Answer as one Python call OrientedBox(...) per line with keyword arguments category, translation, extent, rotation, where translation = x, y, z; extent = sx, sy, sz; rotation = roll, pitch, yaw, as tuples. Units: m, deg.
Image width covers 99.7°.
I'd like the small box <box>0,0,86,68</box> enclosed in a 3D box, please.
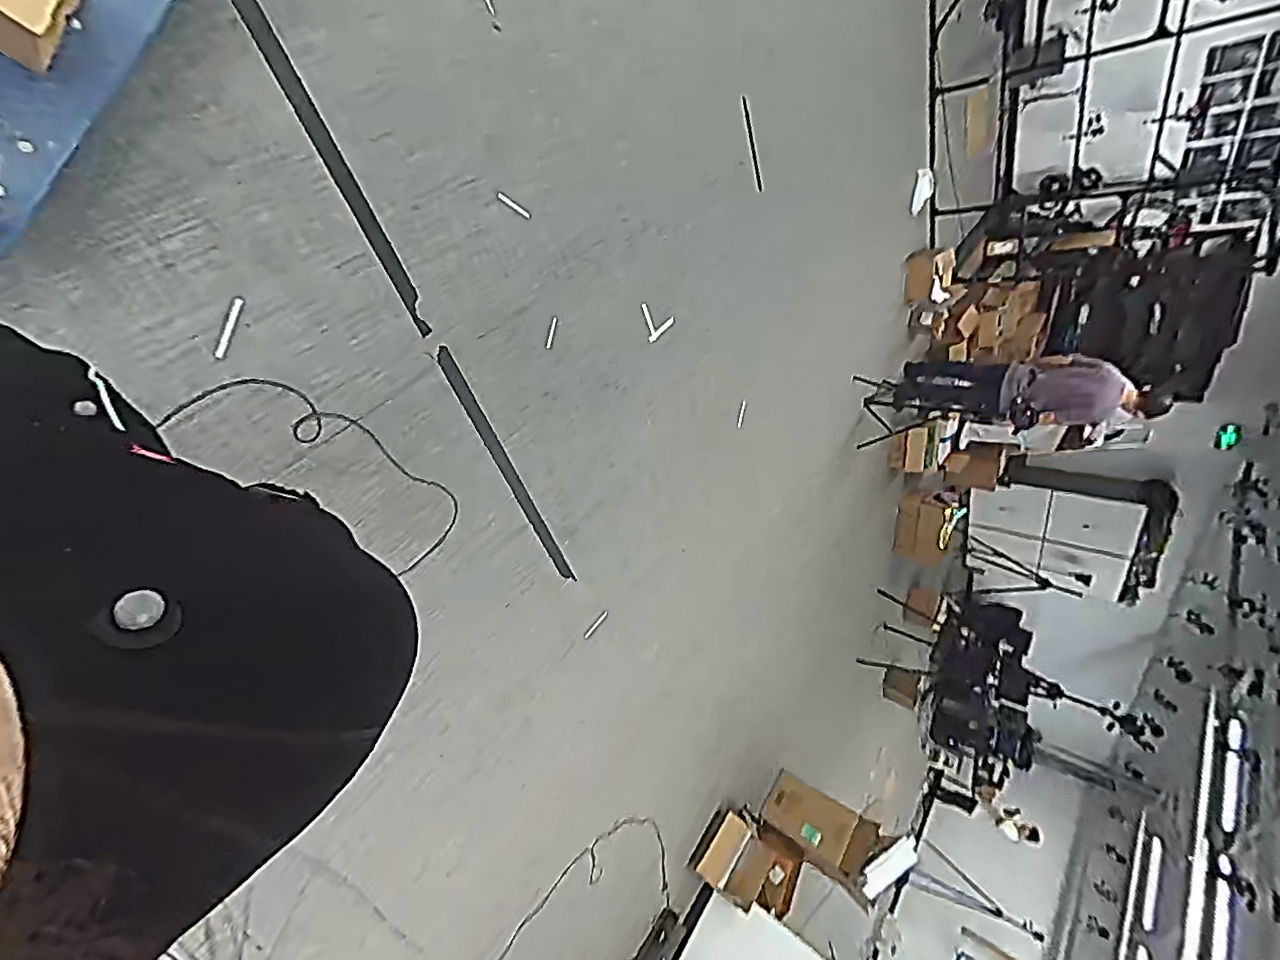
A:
OrientedBox(category="small box", translation=(-0.876, -0.702, 0.716), extent=(0.179, 0.176, 0.168), rotation=(26, 81, -49))
